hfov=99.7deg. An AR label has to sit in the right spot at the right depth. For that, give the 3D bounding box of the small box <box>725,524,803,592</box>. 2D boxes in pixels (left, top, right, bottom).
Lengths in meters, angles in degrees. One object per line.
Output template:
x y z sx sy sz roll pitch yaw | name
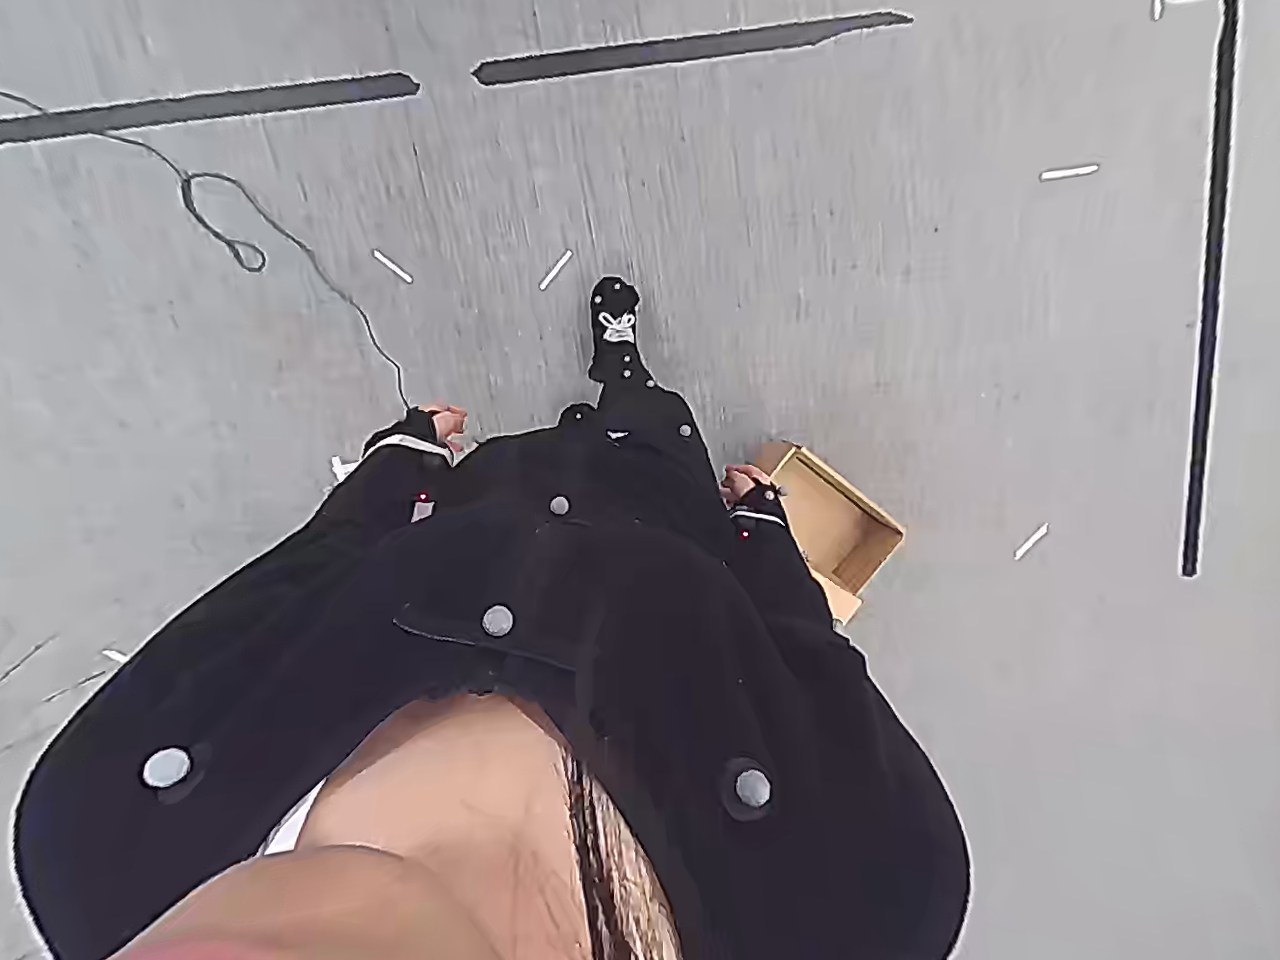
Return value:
0.357 0.241 1.457 0.179 0.176 0.168 36 97 -11 | small box

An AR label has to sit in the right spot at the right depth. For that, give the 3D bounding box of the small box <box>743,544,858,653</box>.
0.375 0.273 1.299 0.179 0.176 0.168 31 100 -12 | small box
